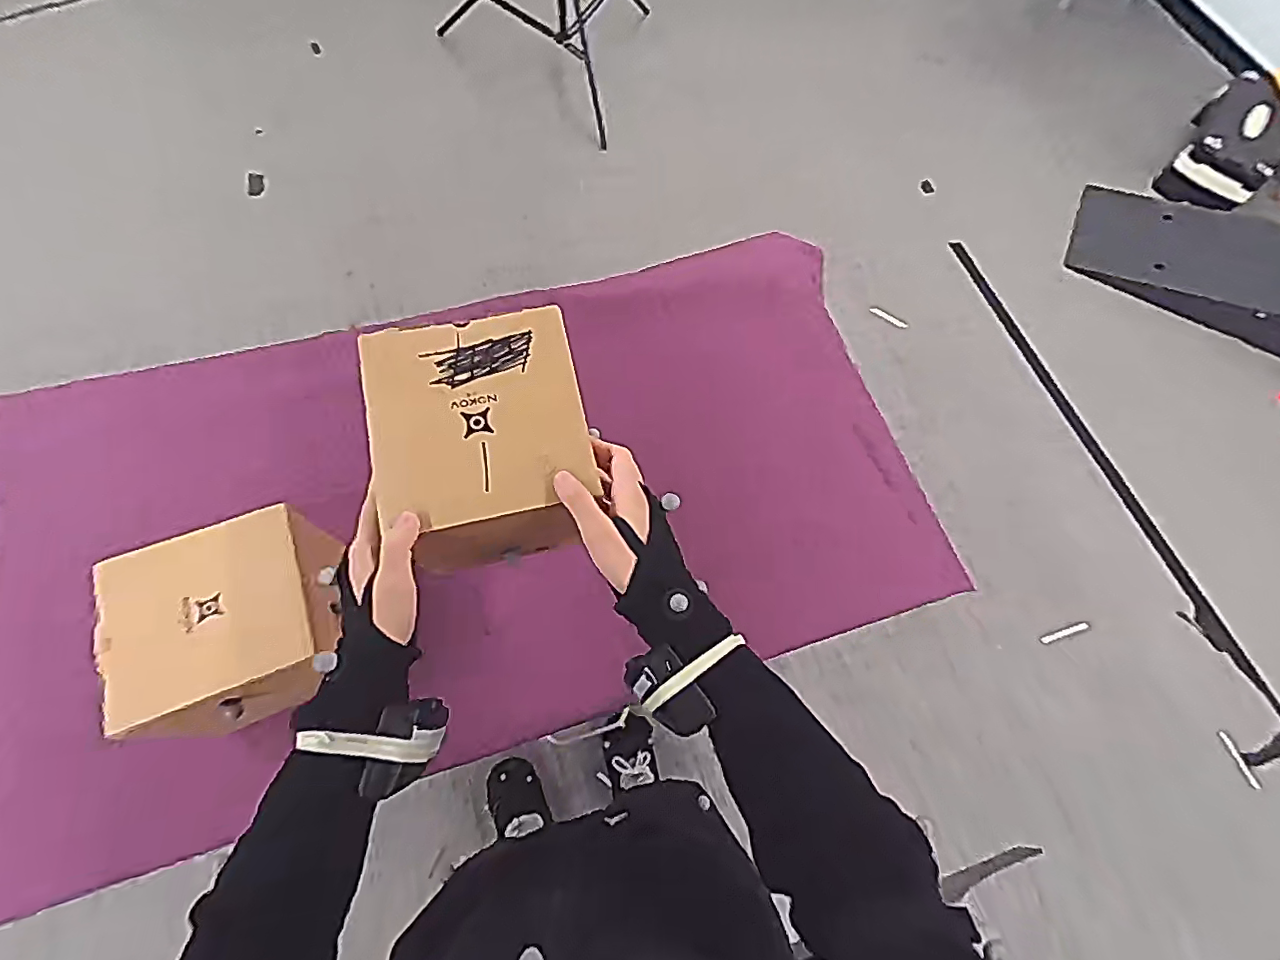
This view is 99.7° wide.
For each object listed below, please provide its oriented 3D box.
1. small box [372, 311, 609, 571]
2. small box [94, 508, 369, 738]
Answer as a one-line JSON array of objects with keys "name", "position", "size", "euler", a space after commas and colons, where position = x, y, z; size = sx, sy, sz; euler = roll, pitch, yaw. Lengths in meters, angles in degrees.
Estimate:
[{"name": "small box", "position": [-0.130, -0.026, 0.507], "size": [0.168, 0.176, 0.179], "euler": [-12, 74, -8]}, {"name": "small box", "position": [-0.417, 0.155, 0.584], "size": [0.179, 0.176, 0.168], "euler": [-21, 71, -12]}]
